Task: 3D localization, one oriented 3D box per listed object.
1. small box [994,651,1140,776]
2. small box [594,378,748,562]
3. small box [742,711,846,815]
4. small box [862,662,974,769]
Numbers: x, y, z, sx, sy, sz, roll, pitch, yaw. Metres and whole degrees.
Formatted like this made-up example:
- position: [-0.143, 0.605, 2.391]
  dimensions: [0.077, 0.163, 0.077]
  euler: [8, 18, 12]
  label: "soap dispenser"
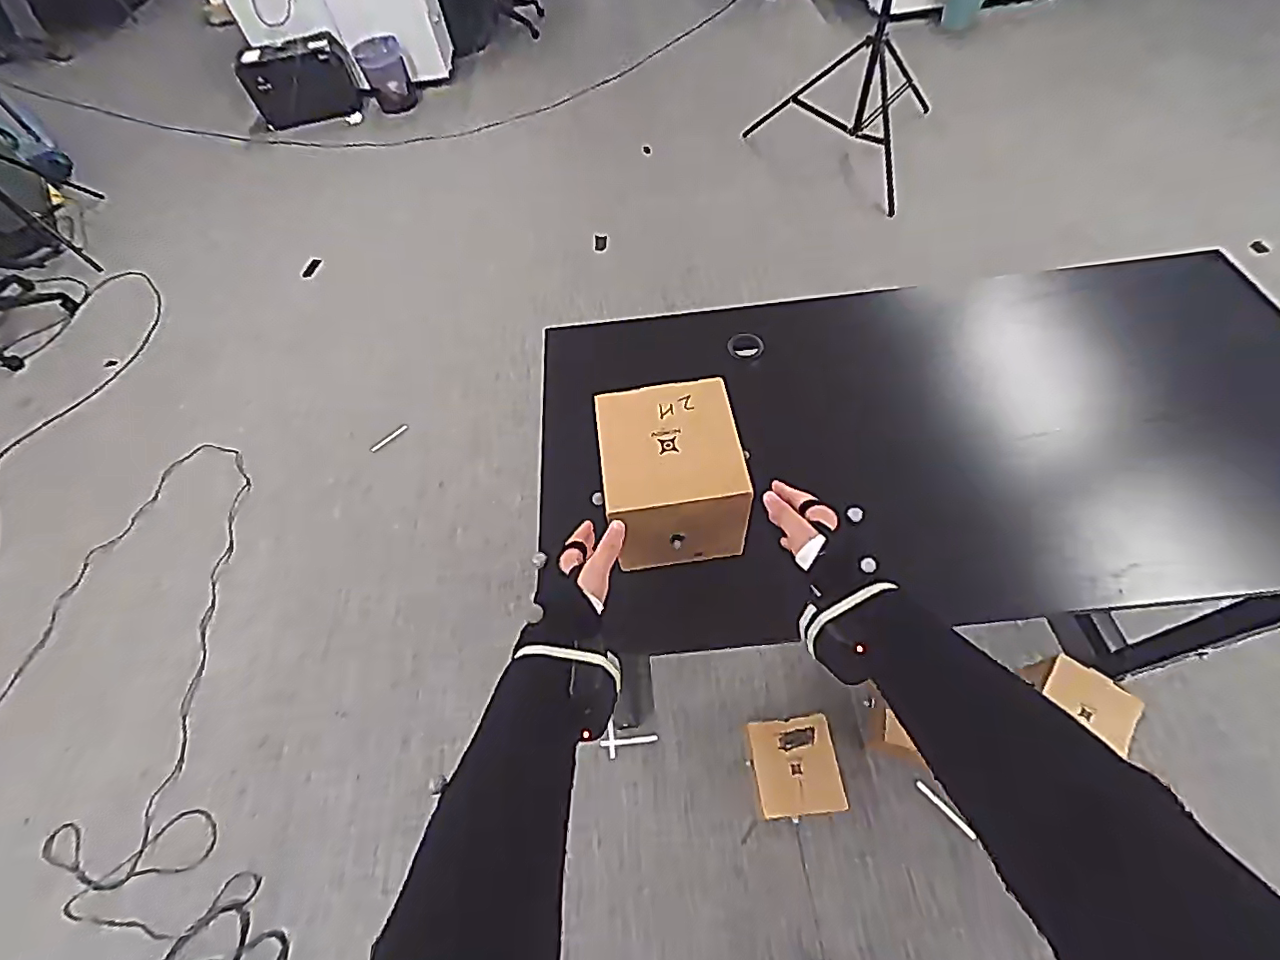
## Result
- position: [0.907, 0.504, 1.164]
  dimensions: [0.168, 0.176, 0.179]
  euler: [33, 67, 23]
  label: "small box"
- position: [0.038, -0.003, 0.707]
  dimensions: [0.168, 0.176, 0.179]
  euler: [-8, 58, 0]
  label: "small box"
- position: [0.319, 0.610, 1.162]
  dimensions: [0.168, 0.176, 0.179]
  euler: [-8, 59, 2]
  label: "small box"
- position: [0.605, 0.521, 1.189]
  dimensions: [0.179, 0.176, 0.168]
  euler: [11, 60, 13]
  label: "small box"
